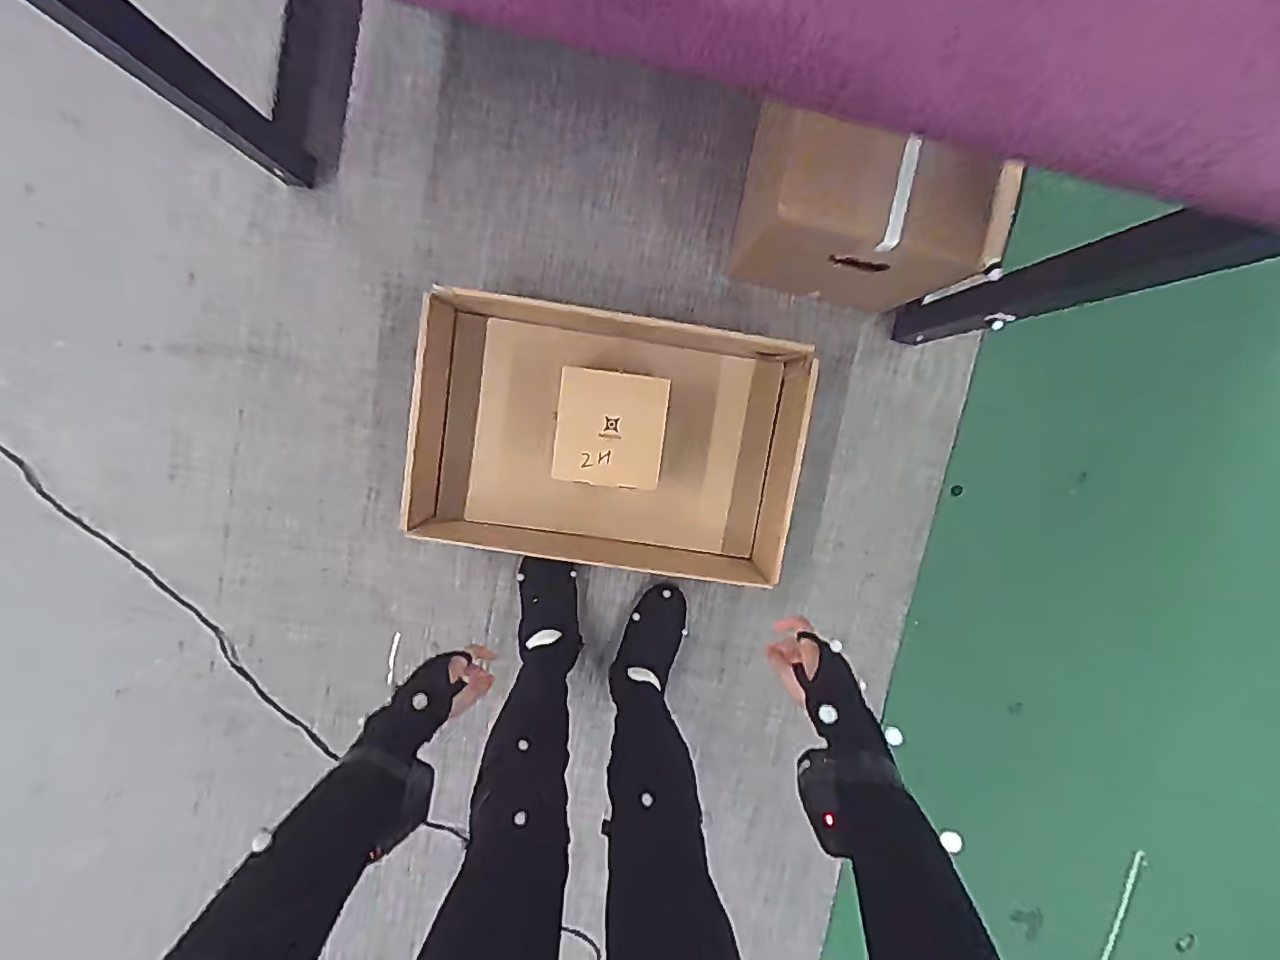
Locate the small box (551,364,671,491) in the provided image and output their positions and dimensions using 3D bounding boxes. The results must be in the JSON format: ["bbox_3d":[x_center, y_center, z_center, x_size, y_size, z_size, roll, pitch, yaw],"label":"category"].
[{"bbox_3d":[-0.048,-0.087,0.895,0.168,0.176,0.179,7,97,-3],"label":"small box"}]
